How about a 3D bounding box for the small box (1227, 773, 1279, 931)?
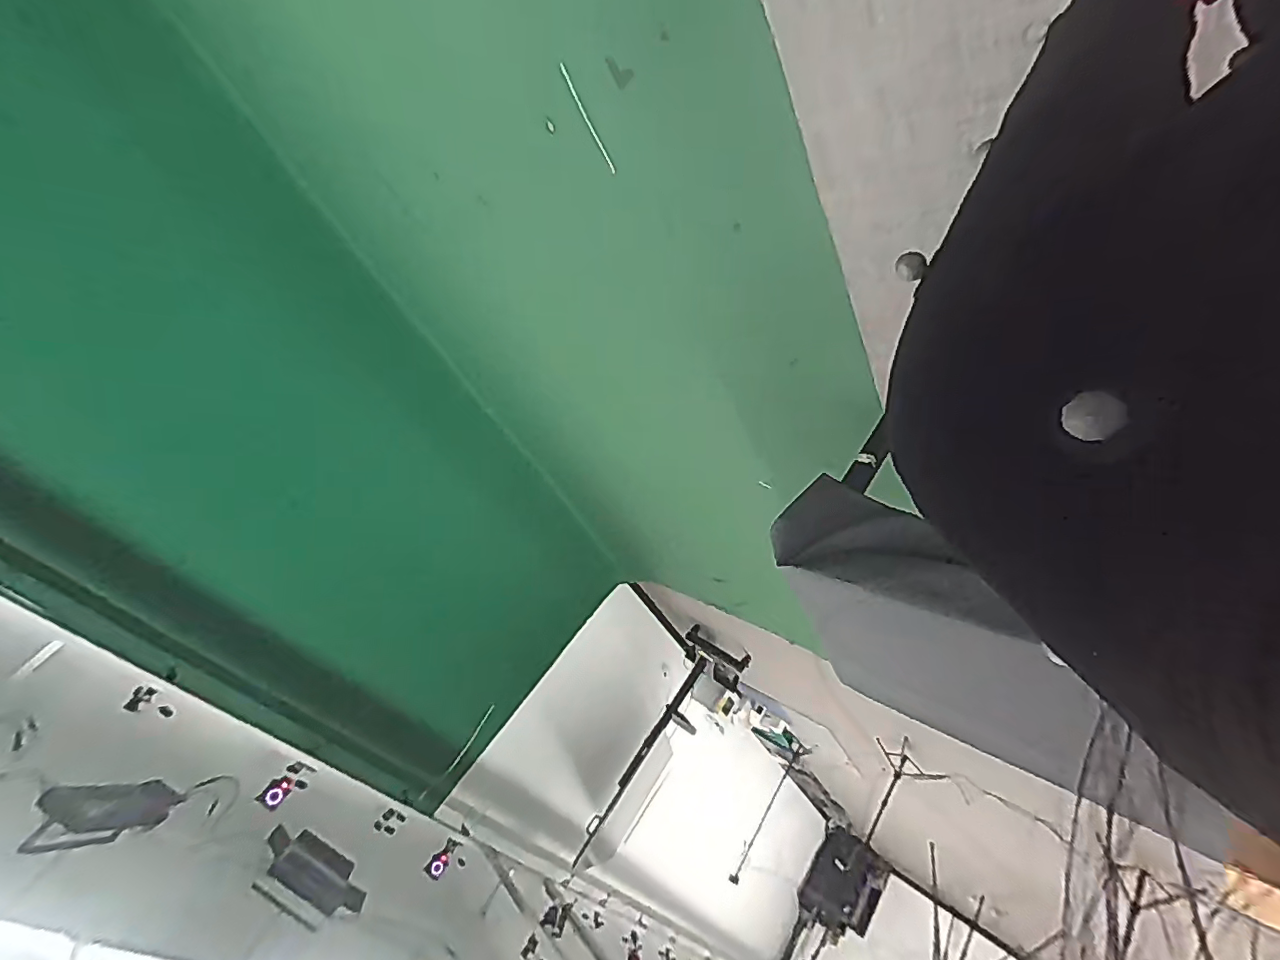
[{"bbox_3d":[0.995,0.571,0.790,0.168,0.176,0.179,8,143,55],"label":"small box"}]
